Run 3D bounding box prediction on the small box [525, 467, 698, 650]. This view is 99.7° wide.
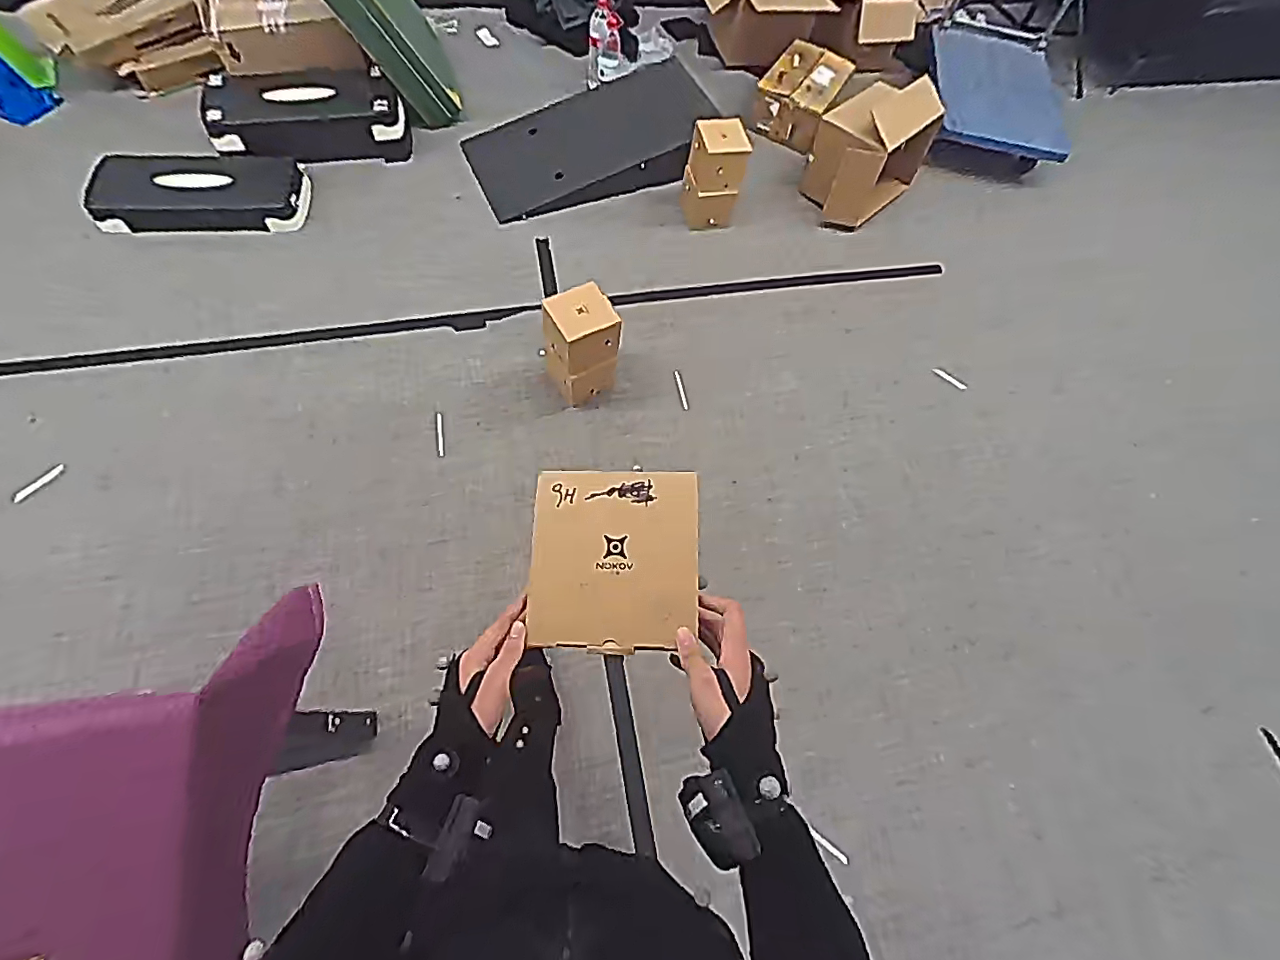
[{"bbox_3d":[-0.021,0.094,0.613,0.168,0.176,0.179,2,74,4],"label":"small box"}]
